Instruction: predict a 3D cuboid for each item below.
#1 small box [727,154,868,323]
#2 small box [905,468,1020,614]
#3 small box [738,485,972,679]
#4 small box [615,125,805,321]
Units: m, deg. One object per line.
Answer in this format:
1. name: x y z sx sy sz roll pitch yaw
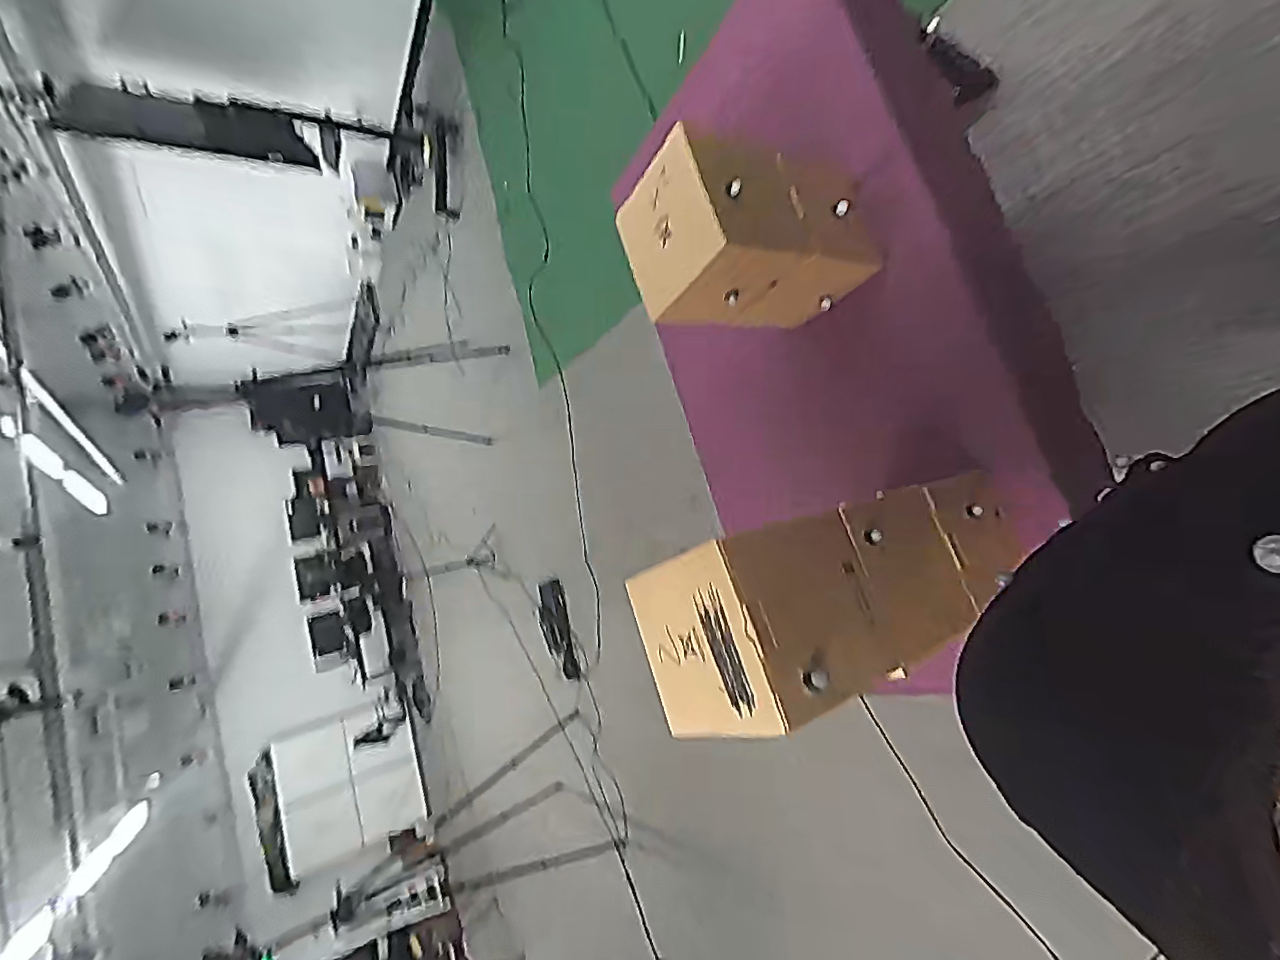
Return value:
1. small box: 0.227 -0.361 0.843 0.179 0.176 0.168 -30 74 52
2. small box: 0.385 0.093 0.747 0.179 0.176 0.168 -33 71 53
3. small box: 0.256 0.121 0.652 0.168 0.176 0.179 -36 68 51
4. small box: 0.096 -0.339 0.745 0.168 0.176 0.179 -31 73 52
